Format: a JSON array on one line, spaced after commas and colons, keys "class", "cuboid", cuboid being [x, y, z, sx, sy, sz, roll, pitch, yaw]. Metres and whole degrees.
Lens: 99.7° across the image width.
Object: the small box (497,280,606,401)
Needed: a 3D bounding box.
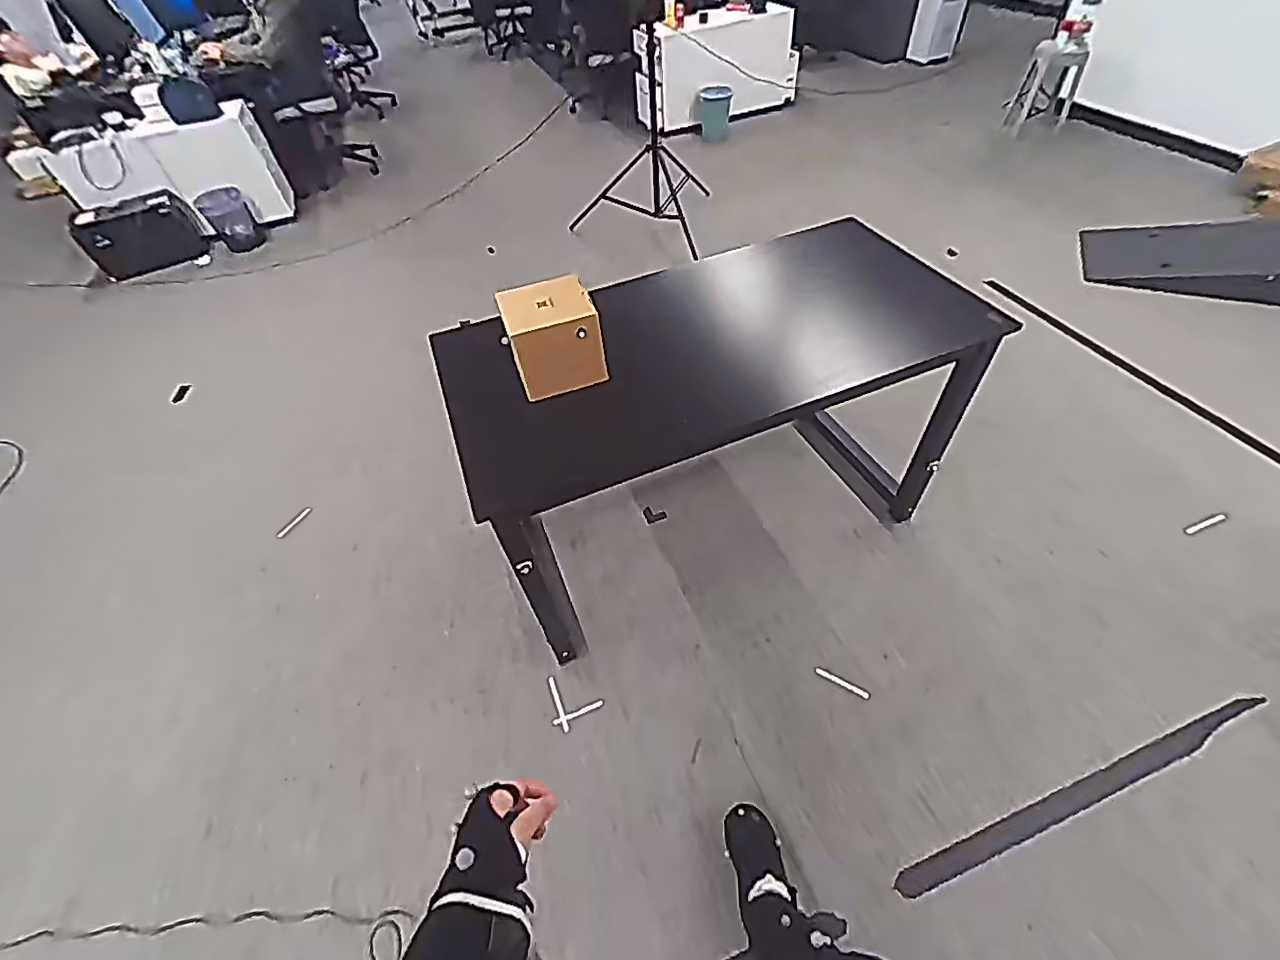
[{"class": "small box", "cuboid": [-0.184, -0.290, 1.140, 0.179, 0.176, 0.168, -18, 51, -10]}]
